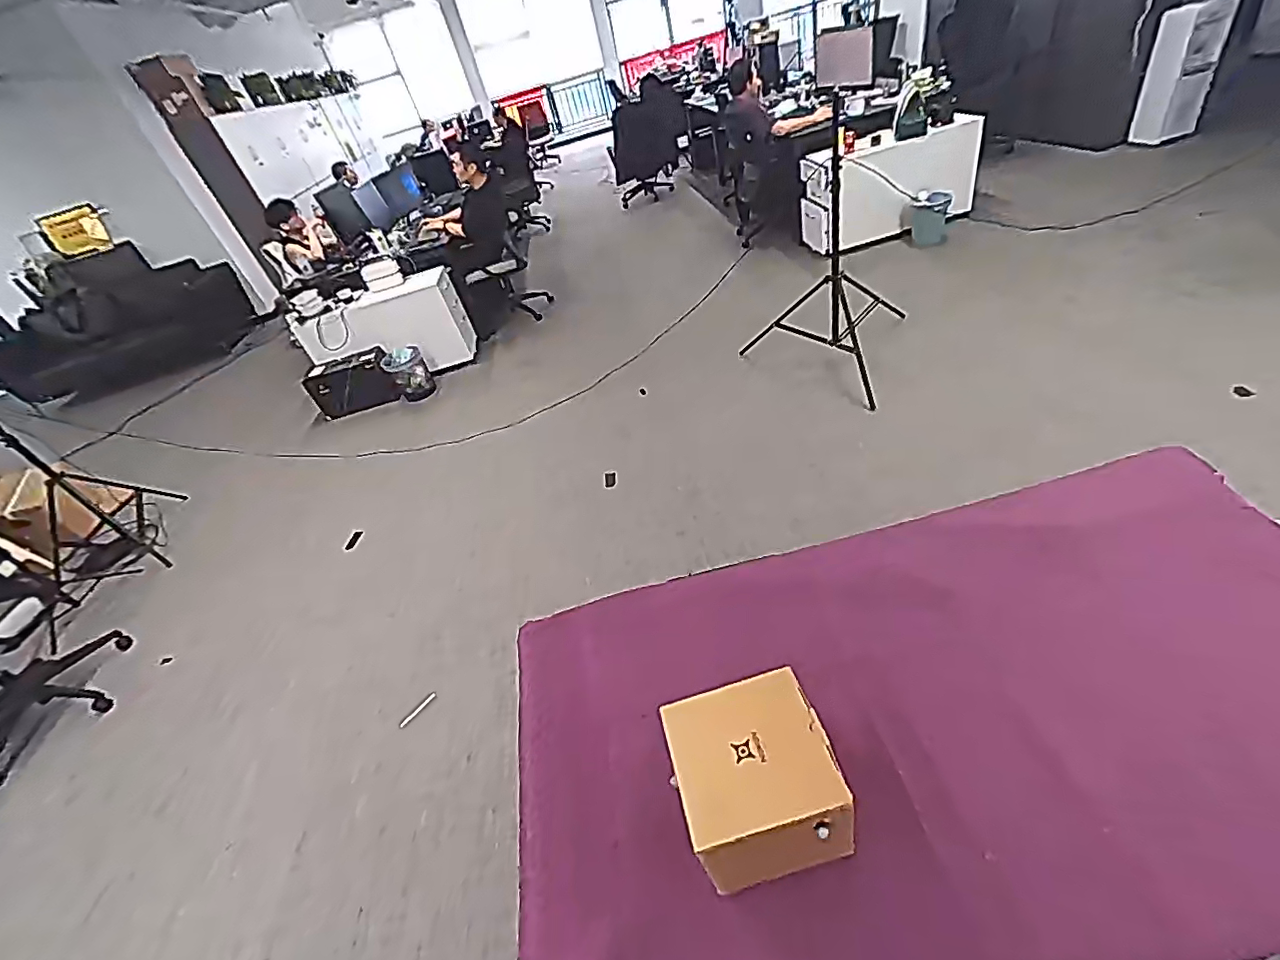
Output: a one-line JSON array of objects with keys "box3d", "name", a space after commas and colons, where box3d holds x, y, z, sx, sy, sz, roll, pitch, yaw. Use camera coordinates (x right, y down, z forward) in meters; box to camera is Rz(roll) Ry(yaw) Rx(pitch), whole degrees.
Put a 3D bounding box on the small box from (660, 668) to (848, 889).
[{"box3d": [0.141, 0.371, 0.671, 0.179, 0.176, 0.168, -18, 38, -1], "name": "small box"}]
